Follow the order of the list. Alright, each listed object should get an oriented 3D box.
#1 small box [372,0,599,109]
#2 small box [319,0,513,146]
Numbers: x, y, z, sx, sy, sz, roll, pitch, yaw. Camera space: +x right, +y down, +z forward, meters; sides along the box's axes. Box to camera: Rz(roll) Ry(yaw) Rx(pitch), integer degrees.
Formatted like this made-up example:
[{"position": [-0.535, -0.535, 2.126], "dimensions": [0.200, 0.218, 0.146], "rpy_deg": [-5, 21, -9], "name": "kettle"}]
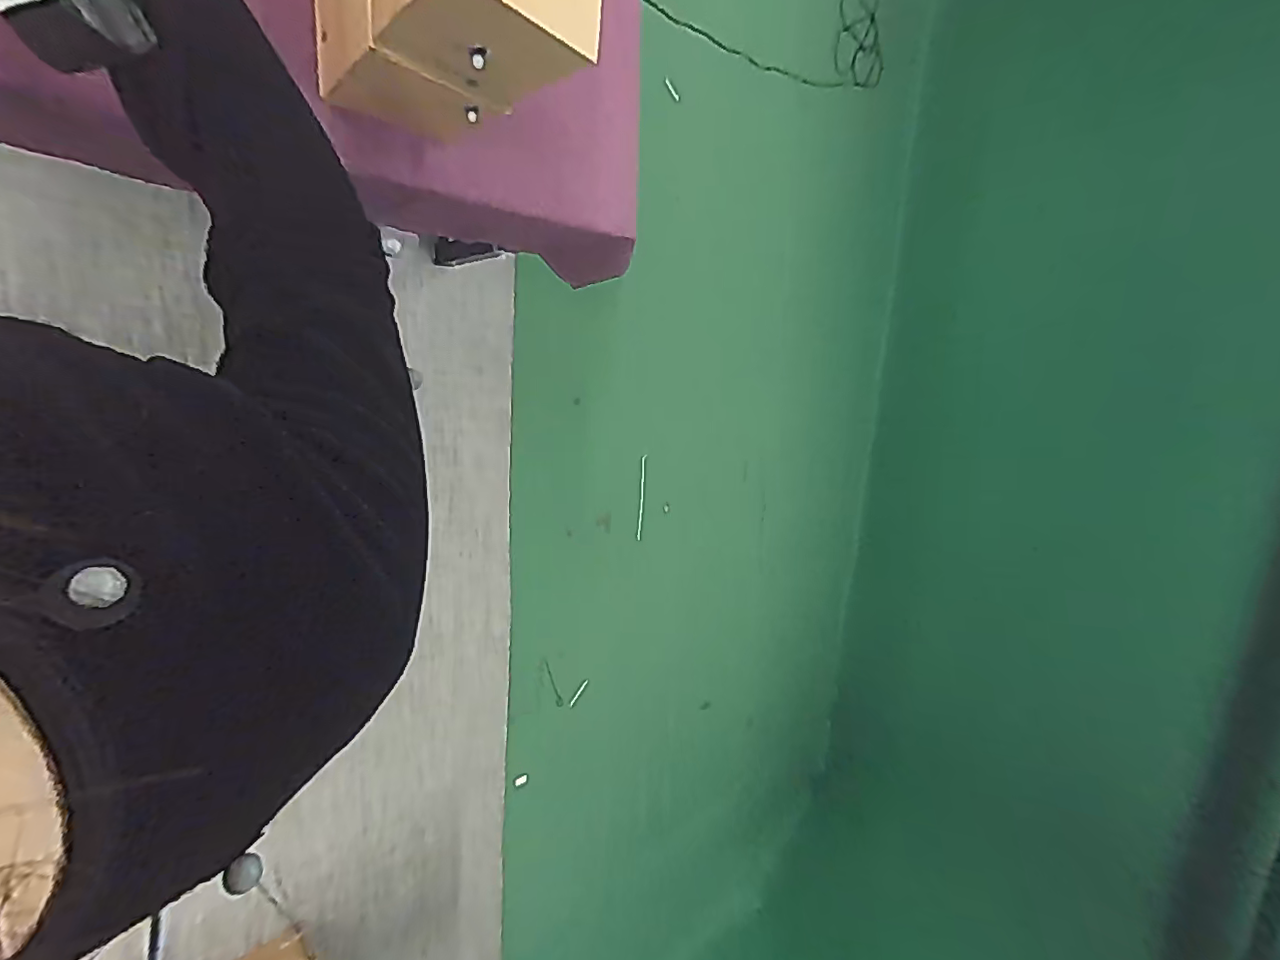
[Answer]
[{"position": [-0.155, -0.517, 0.543], "dimensions": [0.168, 0.176, 0.179], "rpy_deg": [-5, 102, -47], "name": "small box"}, {"position": [-0.274, -0.536, 0.656], "dimensions": [0.179, 0.176, 0.168], "rpy_deg": [-8, 104, -46], "name": "small box"}]
